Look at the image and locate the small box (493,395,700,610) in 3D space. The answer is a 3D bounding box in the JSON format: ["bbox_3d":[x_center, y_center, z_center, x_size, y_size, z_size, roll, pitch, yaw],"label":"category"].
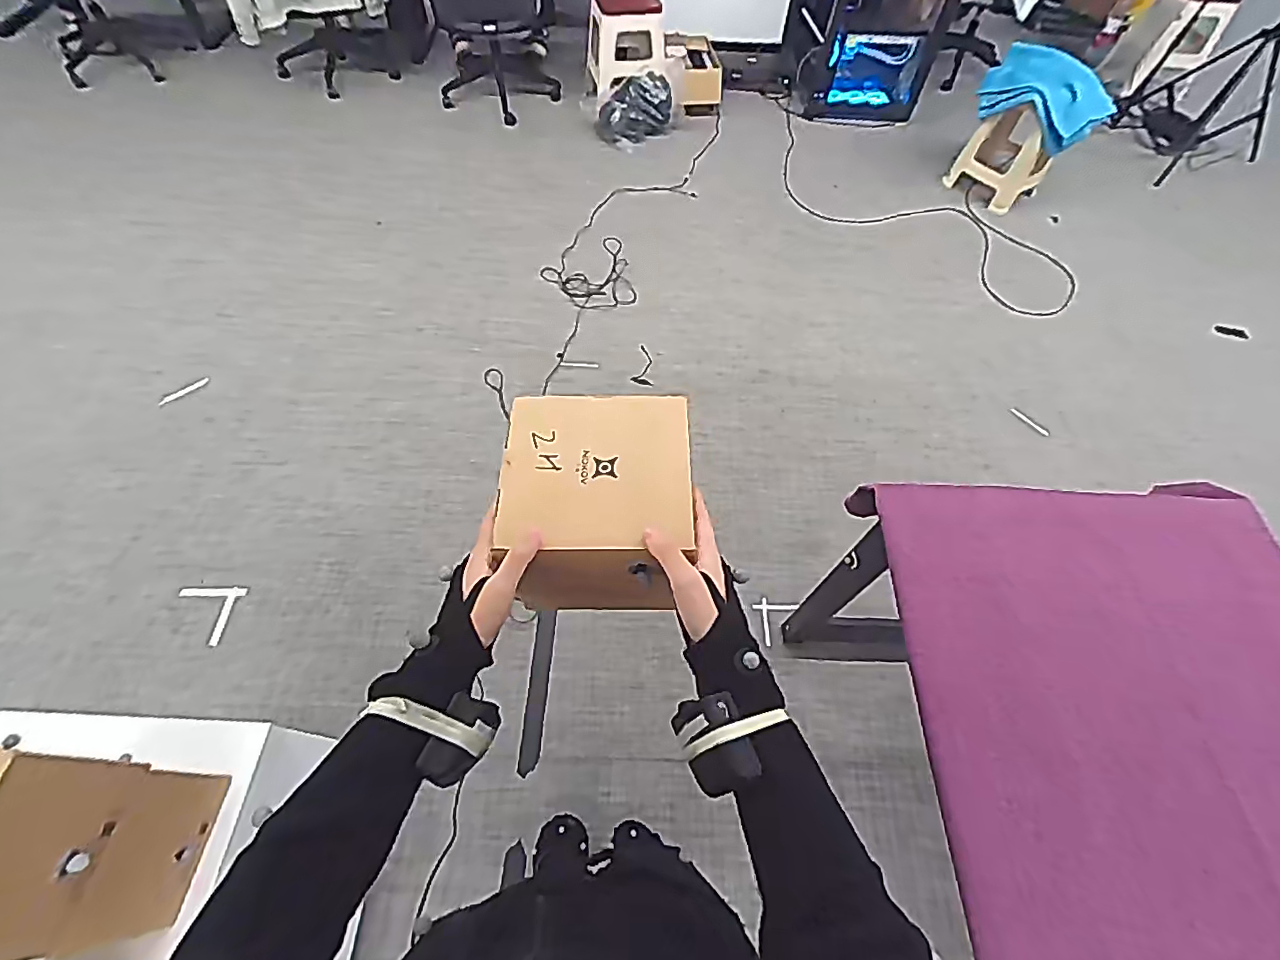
[{"bbox_3d":[-0.036,0.030,0.559,0.179,0.176,0.168,0,59,1],"label":"small box"}]

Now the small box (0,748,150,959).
[{"bbox_3d":[-0.631,0.340,0.497,0.179,0.176,0.168,5,59,-1],"label":"small box"}]
